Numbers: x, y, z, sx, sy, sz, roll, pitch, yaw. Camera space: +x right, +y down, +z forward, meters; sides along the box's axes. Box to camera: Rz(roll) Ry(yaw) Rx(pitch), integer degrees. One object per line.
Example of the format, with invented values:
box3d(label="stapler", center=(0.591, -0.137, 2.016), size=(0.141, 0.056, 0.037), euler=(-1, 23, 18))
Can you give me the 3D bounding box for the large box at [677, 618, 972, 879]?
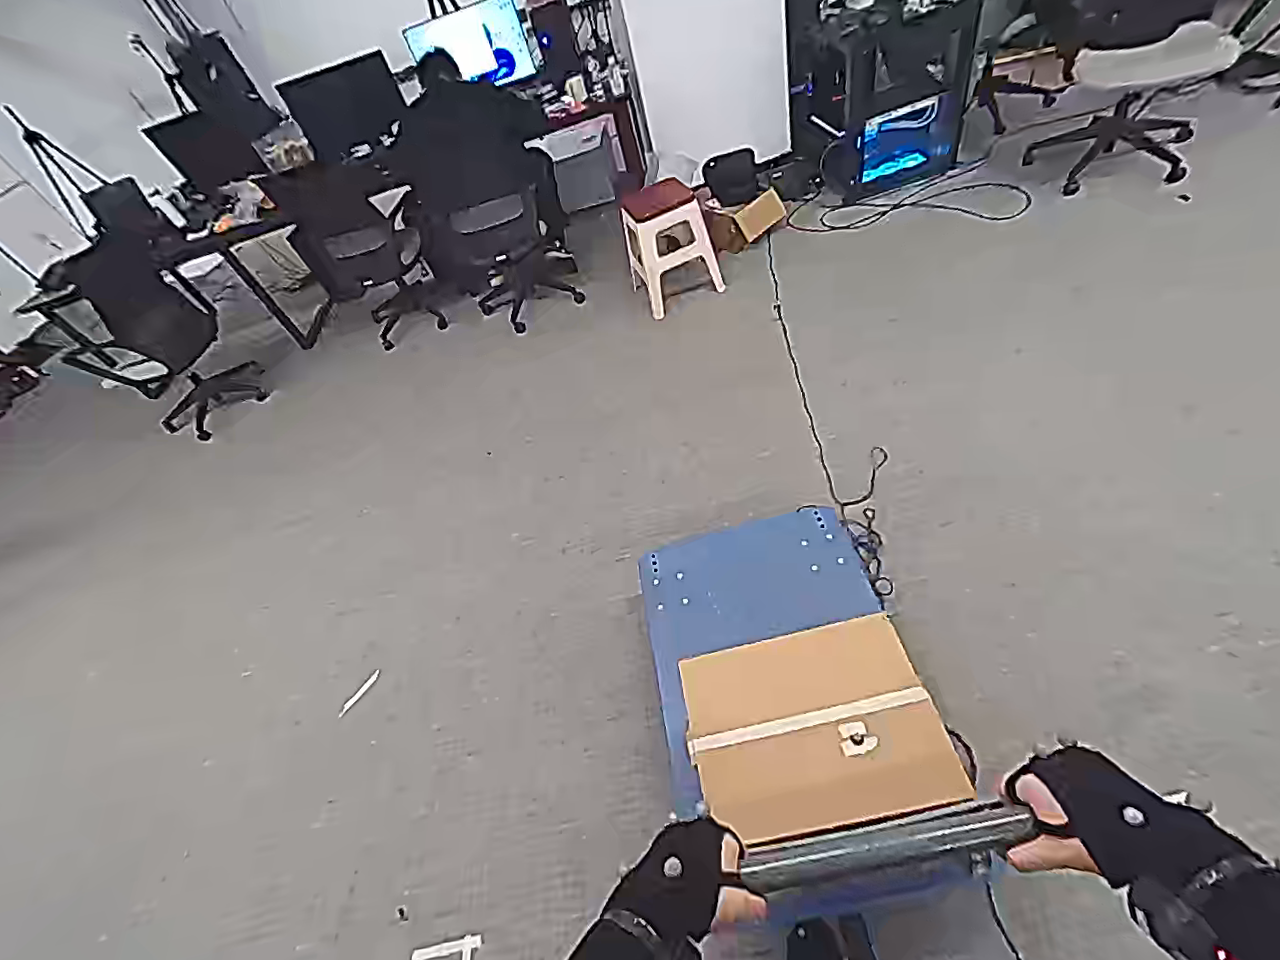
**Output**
box3d(label="large box", center=(0.316, 0.513, 1.021), size=(0.408, 0.320, 0.320), euler=(-15, 48, 5))
